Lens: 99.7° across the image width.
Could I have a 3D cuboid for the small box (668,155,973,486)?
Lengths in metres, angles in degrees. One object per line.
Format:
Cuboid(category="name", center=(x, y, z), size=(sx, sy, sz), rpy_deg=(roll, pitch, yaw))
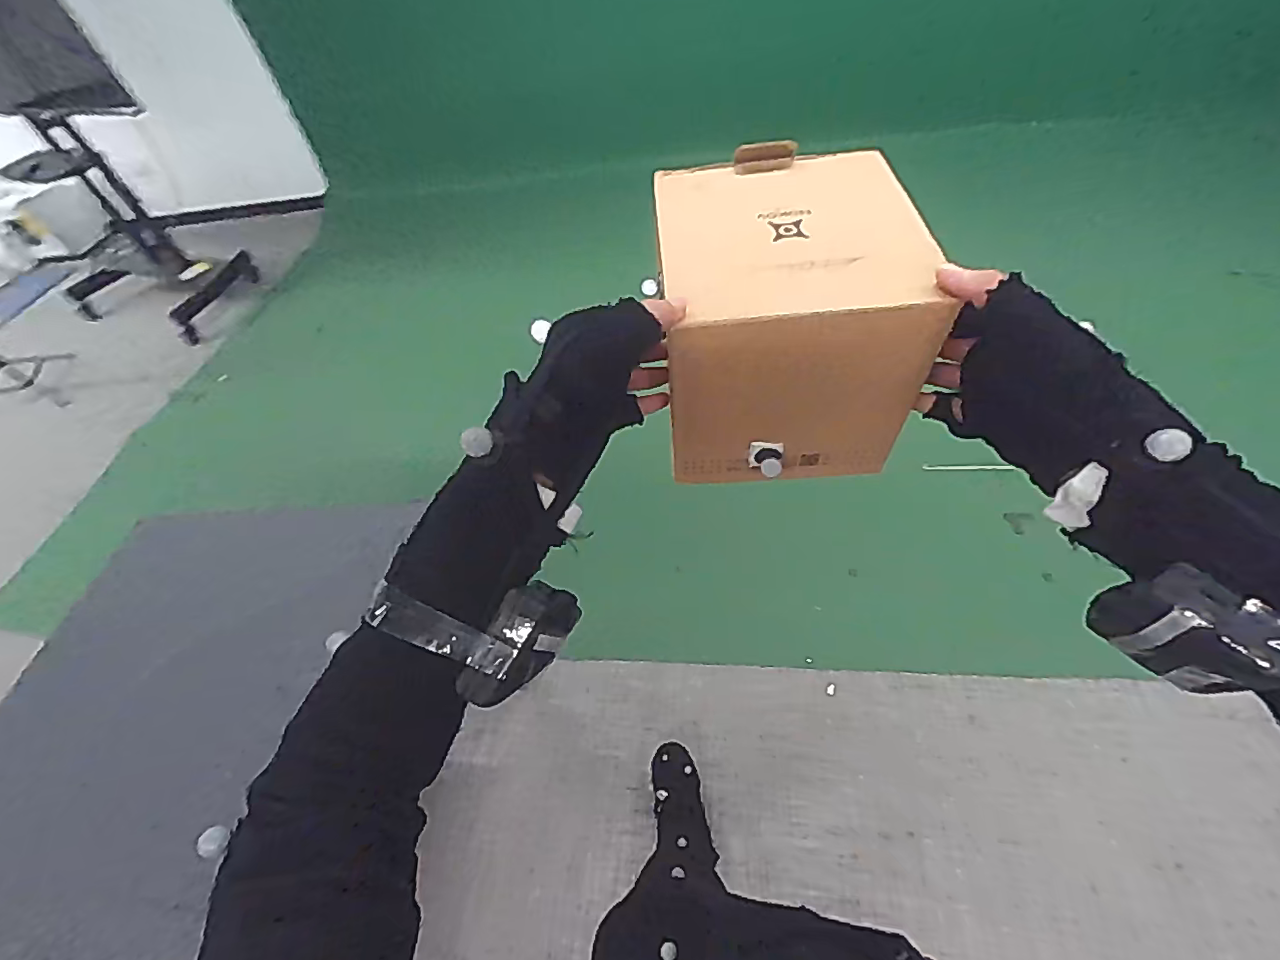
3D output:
Cuboid(category="small box", center=(0.108, -0.116, 0.415), size=(0.168, 0.176, 0.179), rpy_deg=(-4, 55, 4))
